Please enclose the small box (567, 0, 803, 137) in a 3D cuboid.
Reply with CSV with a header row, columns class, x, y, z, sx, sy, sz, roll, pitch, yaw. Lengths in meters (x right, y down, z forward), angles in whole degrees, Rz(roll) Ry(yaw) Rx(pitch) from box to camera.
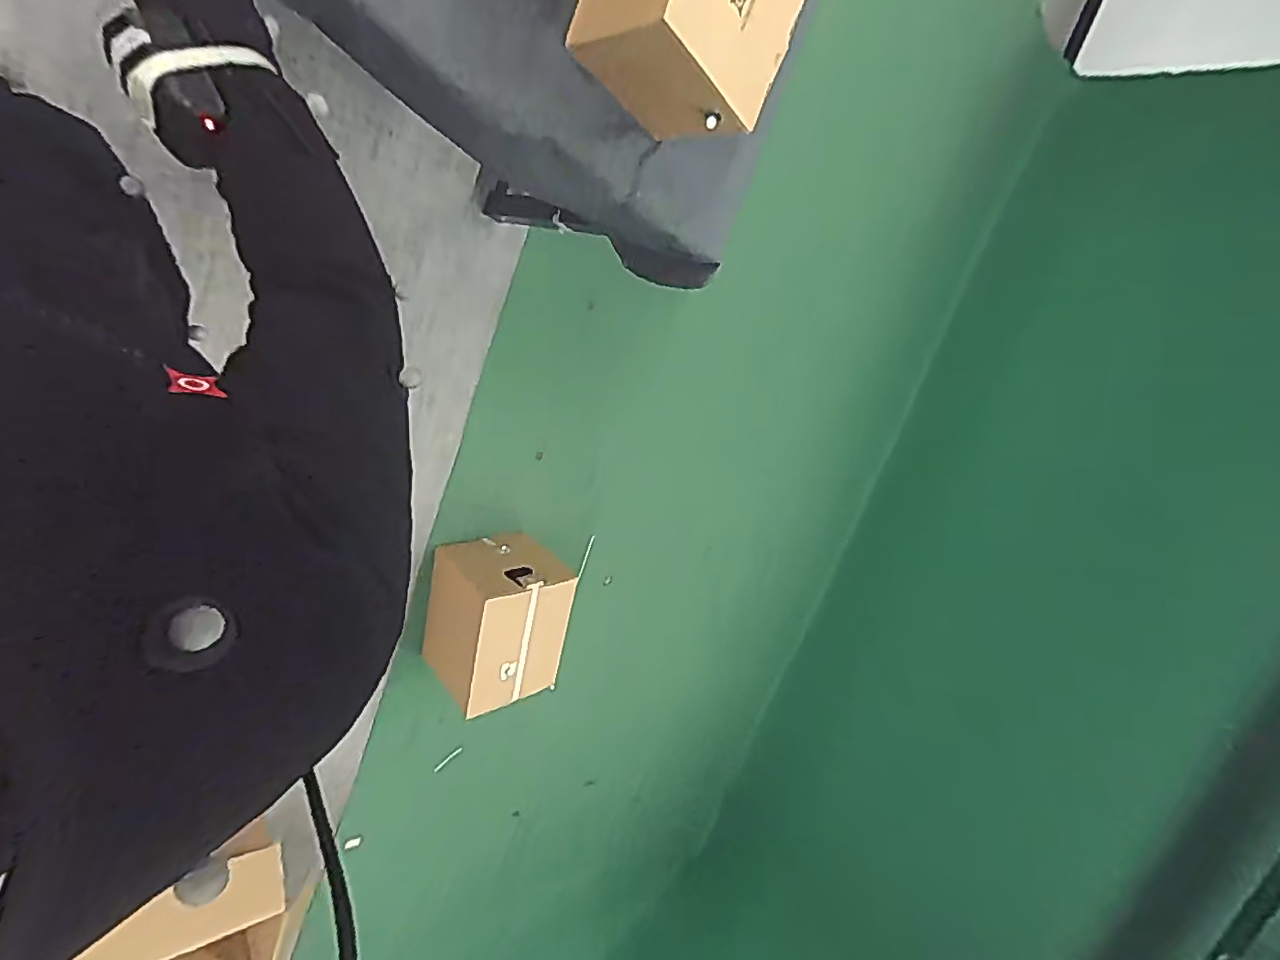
class,x,y,z,sx,sy,sz,roll,pitch,yaw
small box,0.047,-0.517,0.613,0.179,0.176,0.168,13,102,-50
